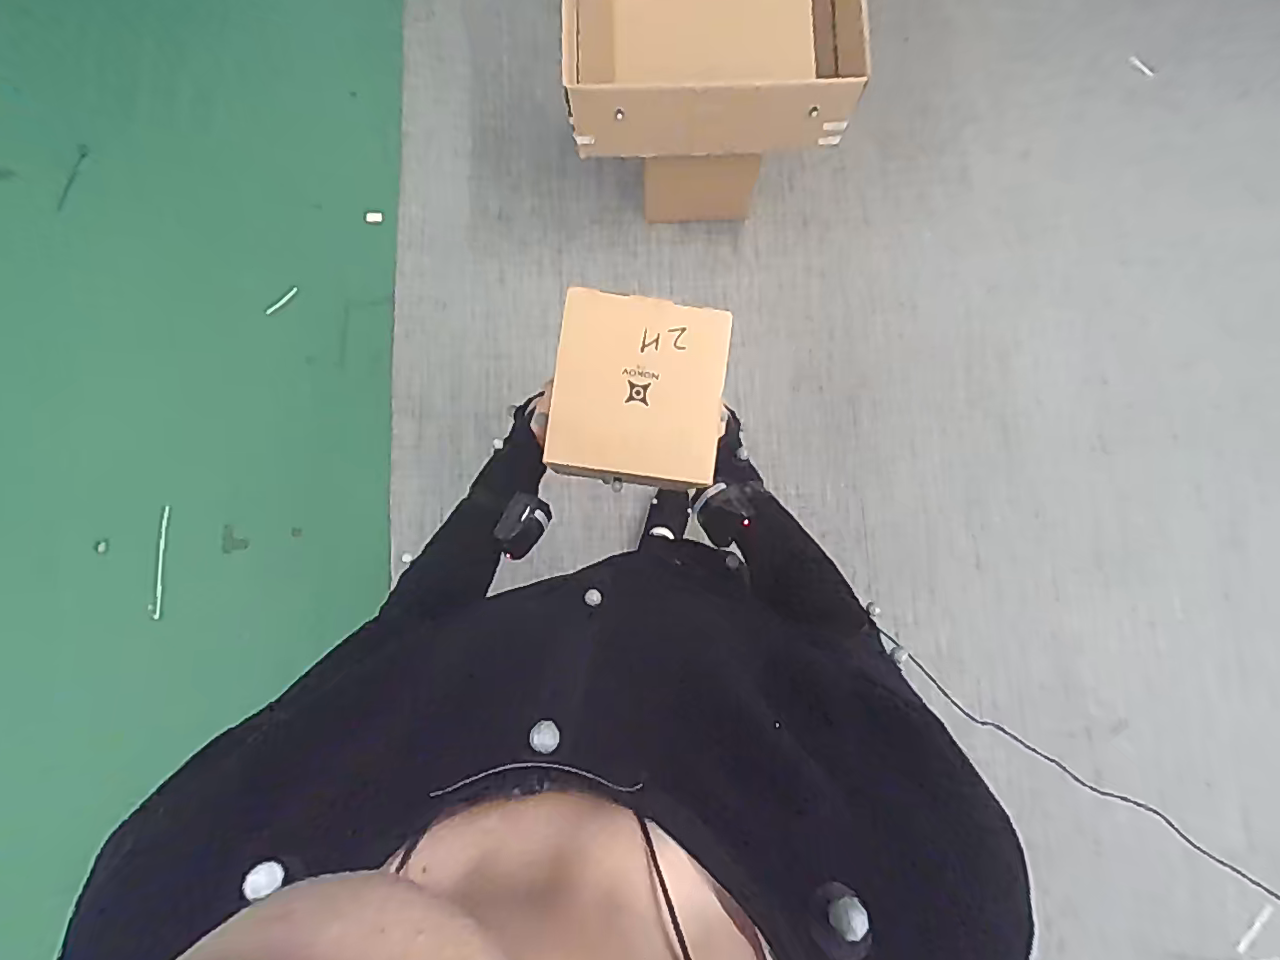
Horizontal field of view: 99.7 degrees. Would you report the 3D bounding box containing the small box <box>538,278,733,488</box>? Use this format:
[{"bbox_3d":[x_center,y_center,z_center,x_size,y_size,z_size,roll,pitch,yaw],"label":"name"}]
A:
[{"bbox_3d":[-0.008,-0.089,0.589,0.168,0.176,0.179,8,85,-4],"label":"small box"}]
